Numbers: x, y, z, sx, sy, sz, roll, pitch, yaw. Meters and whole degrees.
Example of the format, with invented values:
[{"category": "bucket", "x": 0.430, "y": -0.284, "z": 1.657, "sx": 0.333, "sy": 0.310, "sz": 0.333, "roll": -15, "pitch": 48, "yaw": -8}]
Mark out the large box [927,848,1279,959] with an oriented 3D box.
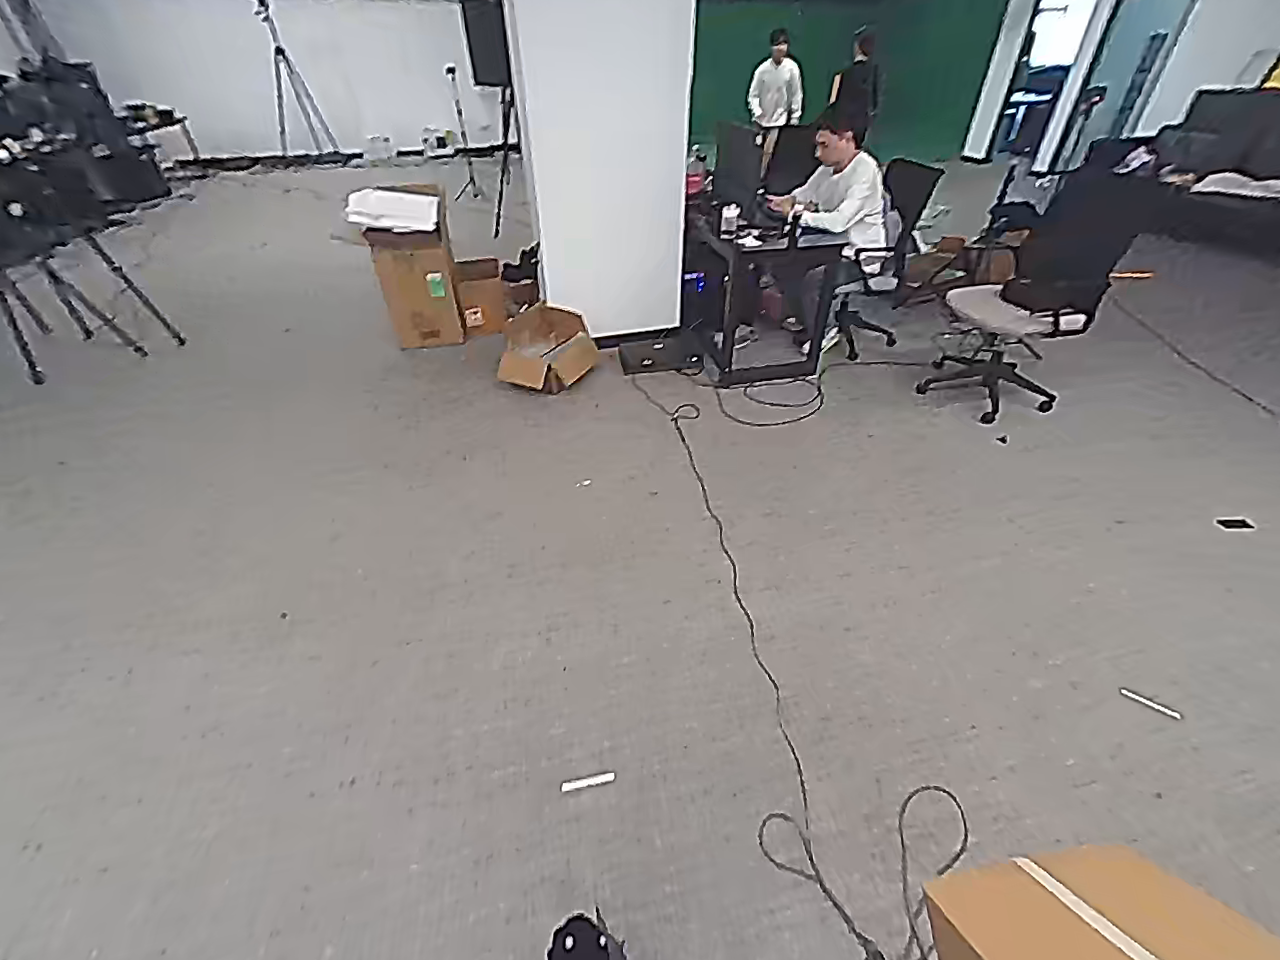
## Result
[{"category": "large box", "x": 0.600, "y": 0.699, "z": 0.598, "sx": 0.320, "sy": 0.408, "sz": 0.320, "roll": -10, "pitch": 83, "yaw": -1}]
